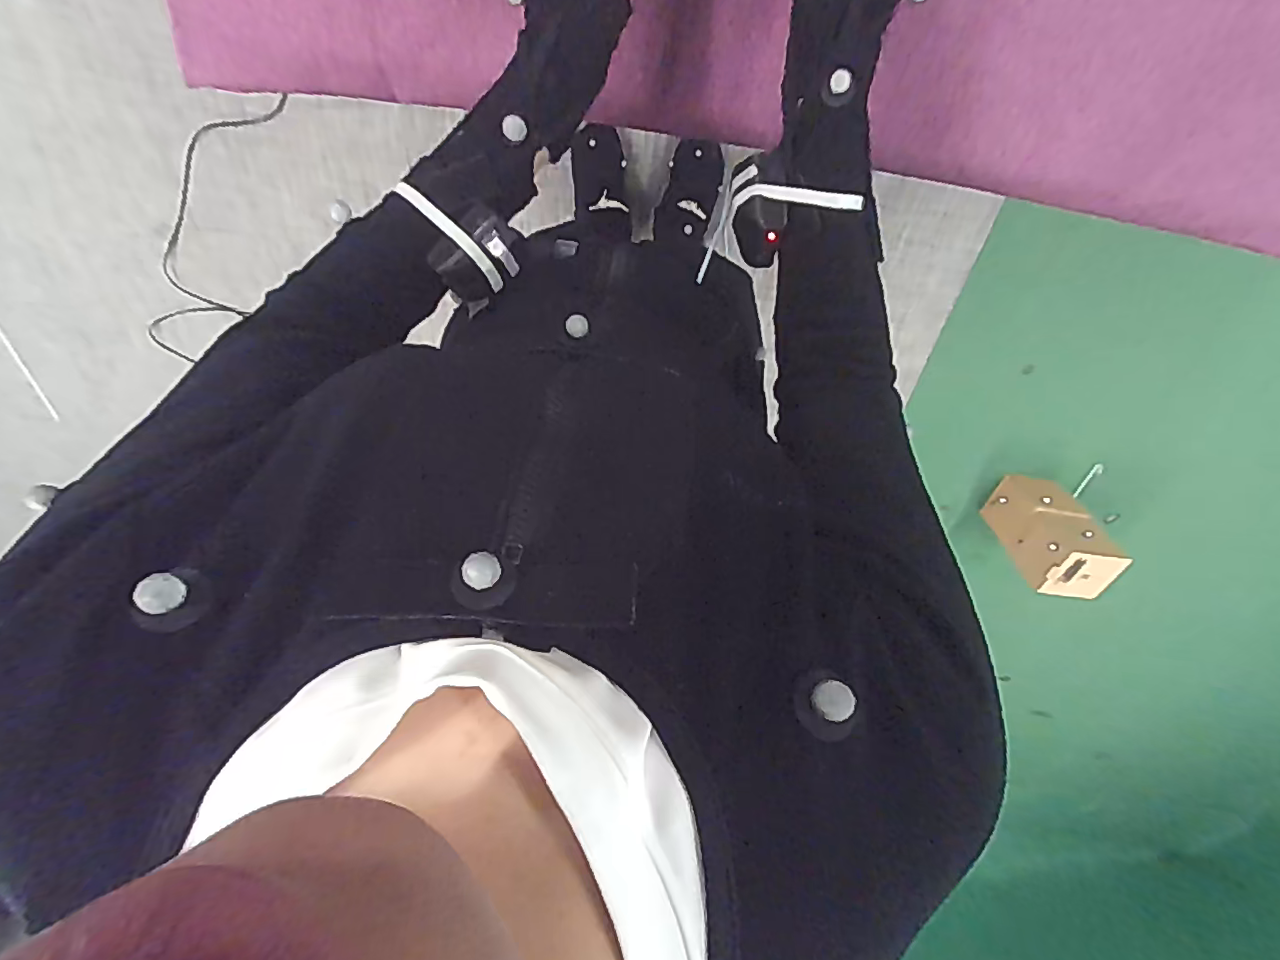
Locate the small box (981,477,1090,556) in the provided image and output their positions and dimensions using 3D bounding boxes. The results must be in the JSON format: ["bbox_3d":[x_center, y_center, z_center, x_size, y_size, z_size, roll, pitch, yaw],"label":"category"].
[{"bbox_3d":[1.207,0.108,1.663,0.179,0.176,0.168,9,128,-4],"label":"small box"}]
